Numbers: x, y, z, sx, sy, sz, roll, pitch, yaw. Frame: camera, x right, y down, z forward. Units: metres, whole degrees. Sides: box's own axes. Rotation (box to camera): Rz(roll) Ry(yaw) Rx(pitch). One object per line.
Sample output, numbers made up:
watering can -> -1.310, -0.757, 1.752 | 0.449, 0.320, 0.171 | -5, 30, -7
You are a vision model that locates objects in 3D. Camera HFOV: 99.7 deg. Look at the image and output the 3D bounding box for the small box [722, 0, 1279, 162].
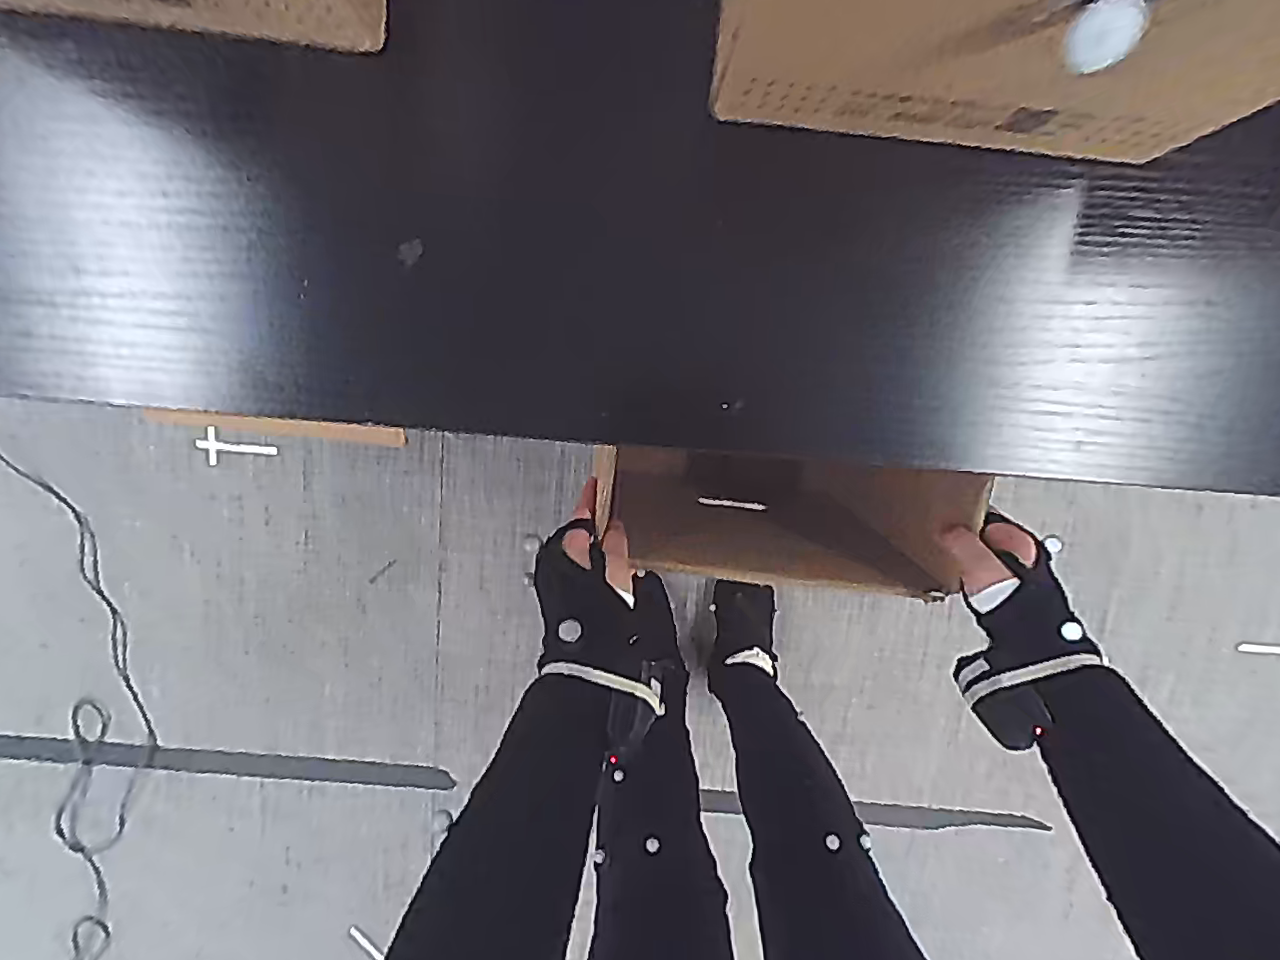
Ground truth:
small box -> 0.116, -0.194, 0.111 | 0.168, 0.176, 0.179 | 5, 99, -2
